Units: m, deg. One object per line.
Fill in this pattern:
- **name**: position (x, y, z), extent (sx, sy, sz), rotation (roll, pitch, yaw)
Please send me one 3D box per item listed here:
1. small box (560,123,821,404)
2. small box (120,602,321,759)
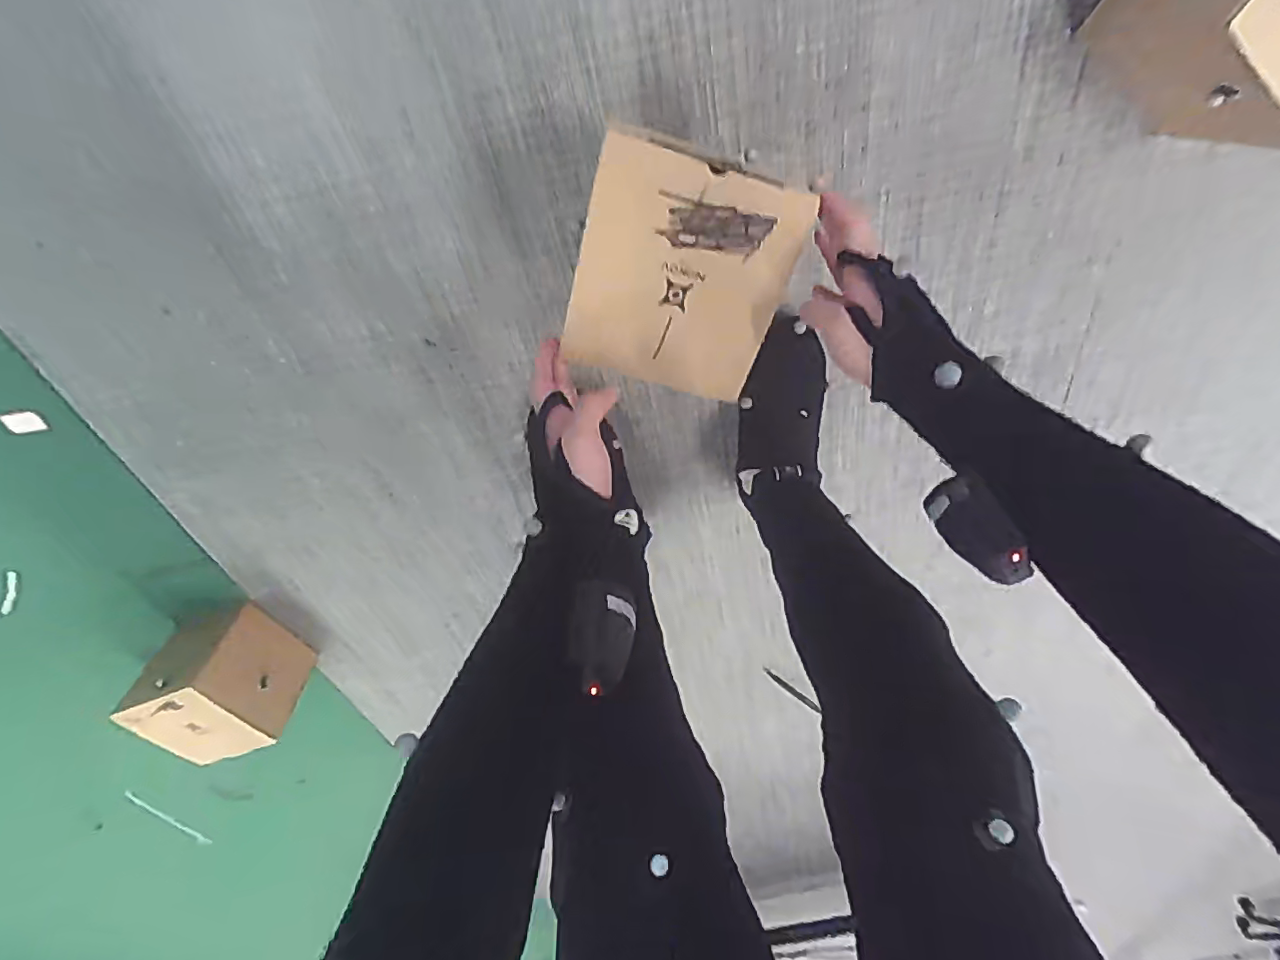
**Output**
- **small box**: position (0.029, -0.200, 0.490), extent (0.168, 0.176, 0.179), rotation (12, 125, -11)
- **small box**: position (-0.693, 0.340, 0.923), extent (0.168, 0.176, 0.179), rotation (-20, 125, 11)
